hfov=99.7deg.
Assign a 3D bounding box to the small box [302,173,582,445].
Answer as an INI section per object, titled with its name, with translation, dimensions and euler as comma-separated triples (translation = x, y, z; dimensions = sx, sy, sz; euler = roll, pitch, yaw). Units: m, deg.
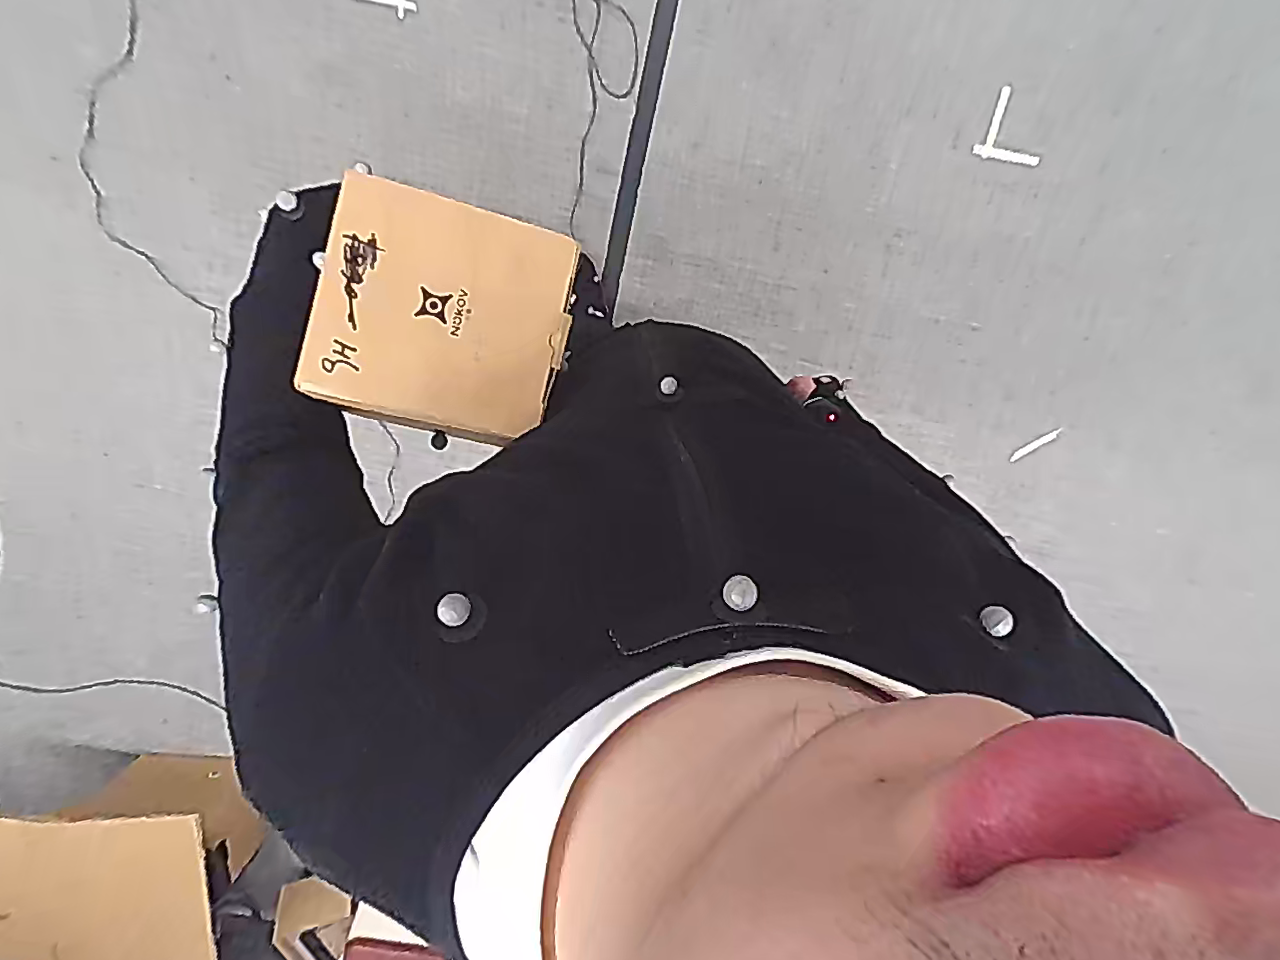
[small box]
translation = -0.166, -0.130, 0.491
dimensions = 0.179, 0.176, 0.168
euler = 13, 86, -15
